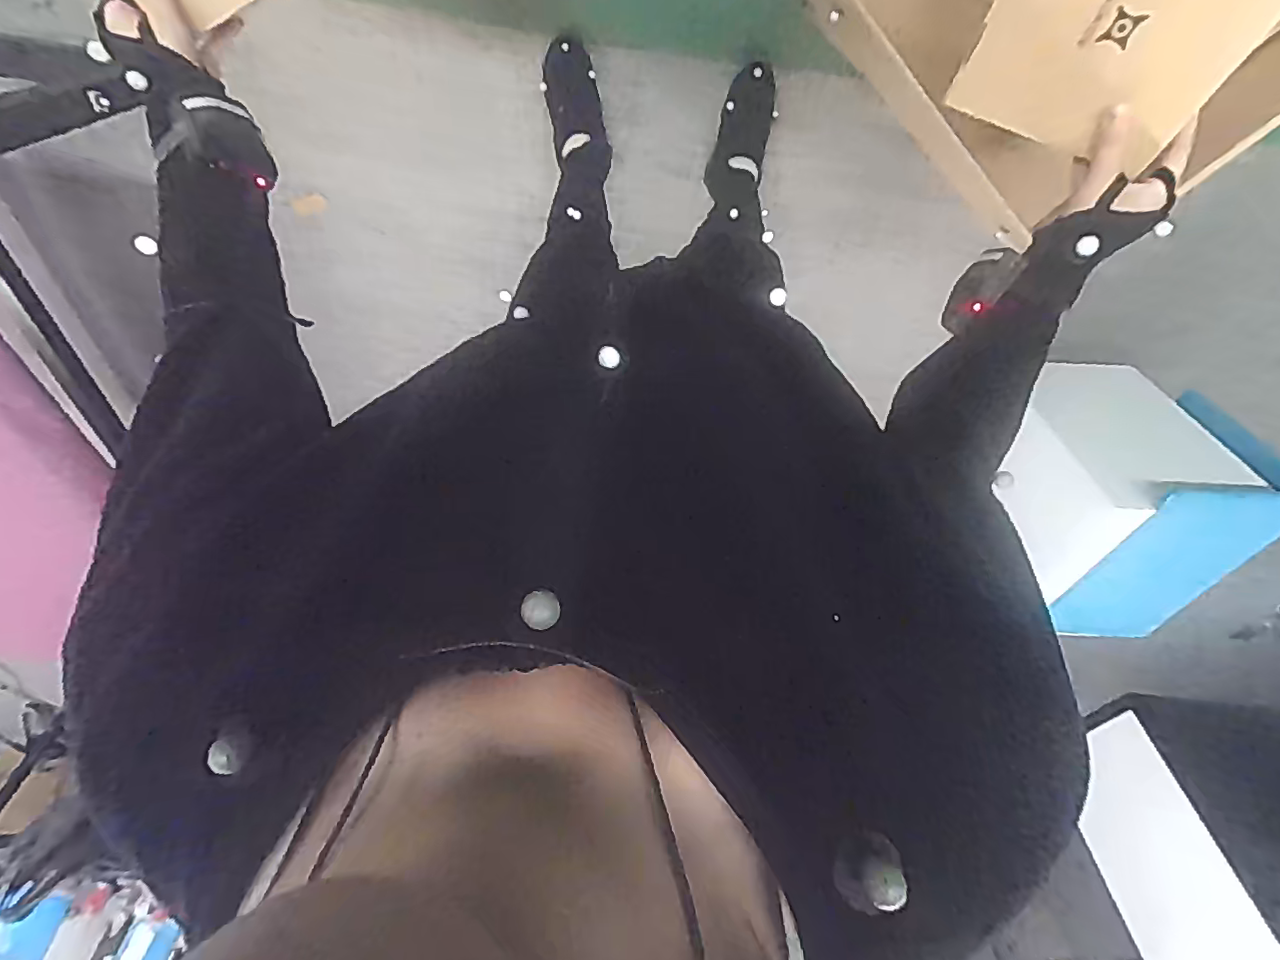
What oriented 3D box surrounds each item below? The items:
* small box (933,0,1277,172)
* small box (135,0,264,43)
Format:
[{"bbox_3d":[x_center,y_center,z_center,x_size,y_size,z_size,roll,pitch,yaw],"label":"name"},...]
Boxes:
[{"bbox_3d":[0.388,-0.397,0.443,0.179,0.176,0.168,31,149,13],"label":"small box"},{"bbox_3d":[-0.369,-0.514,0.450,0.179,0.176,0.168,-21,137,10],"label":"small box"}]
